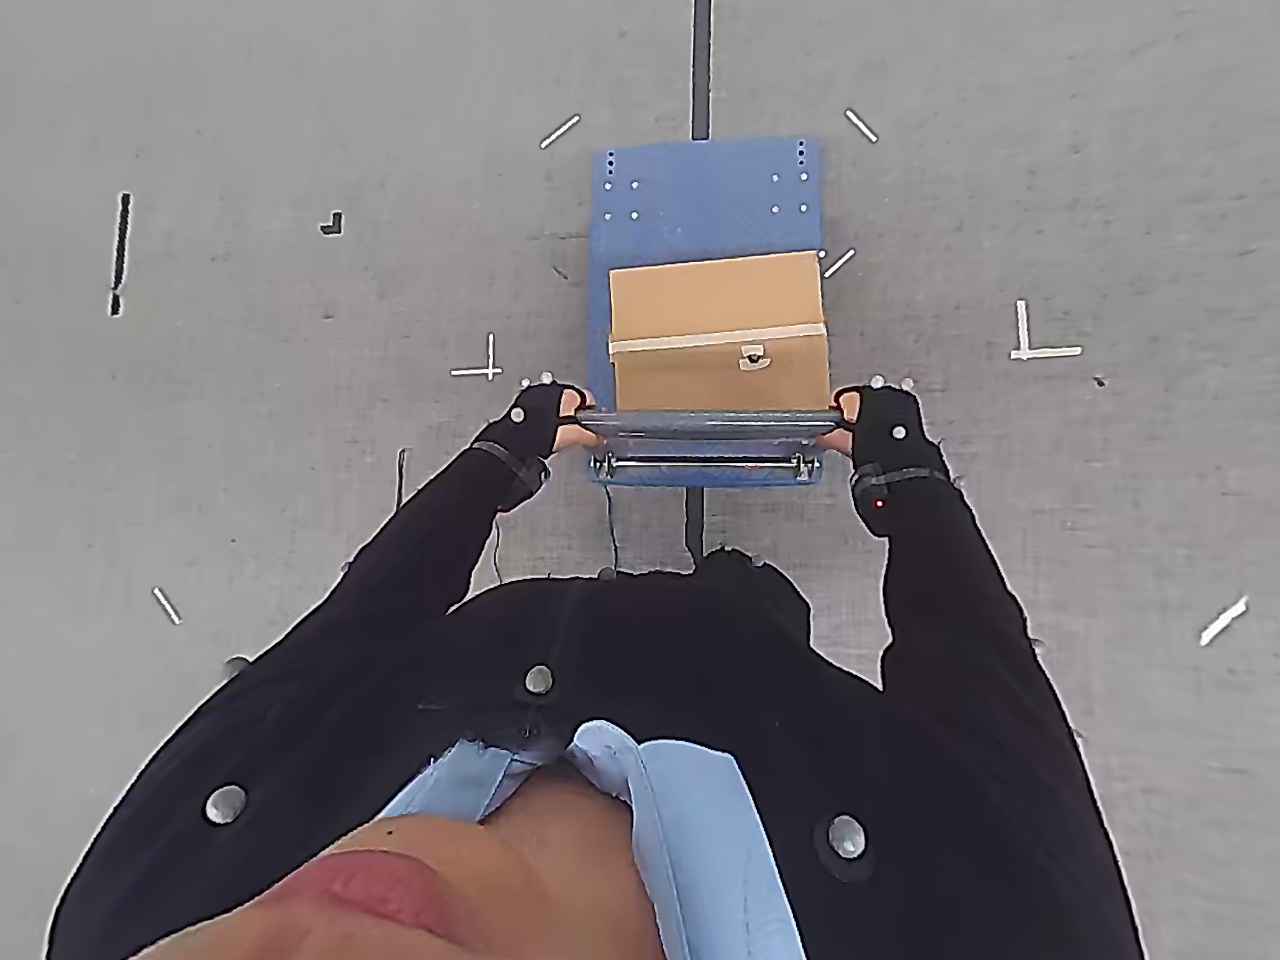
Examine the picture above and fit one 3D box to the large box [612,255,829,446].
[{"bbox_3d":[0.162,-0.260,1.197,0.408,0.320,0.320,-4,87,4],"label":"large box"}]
